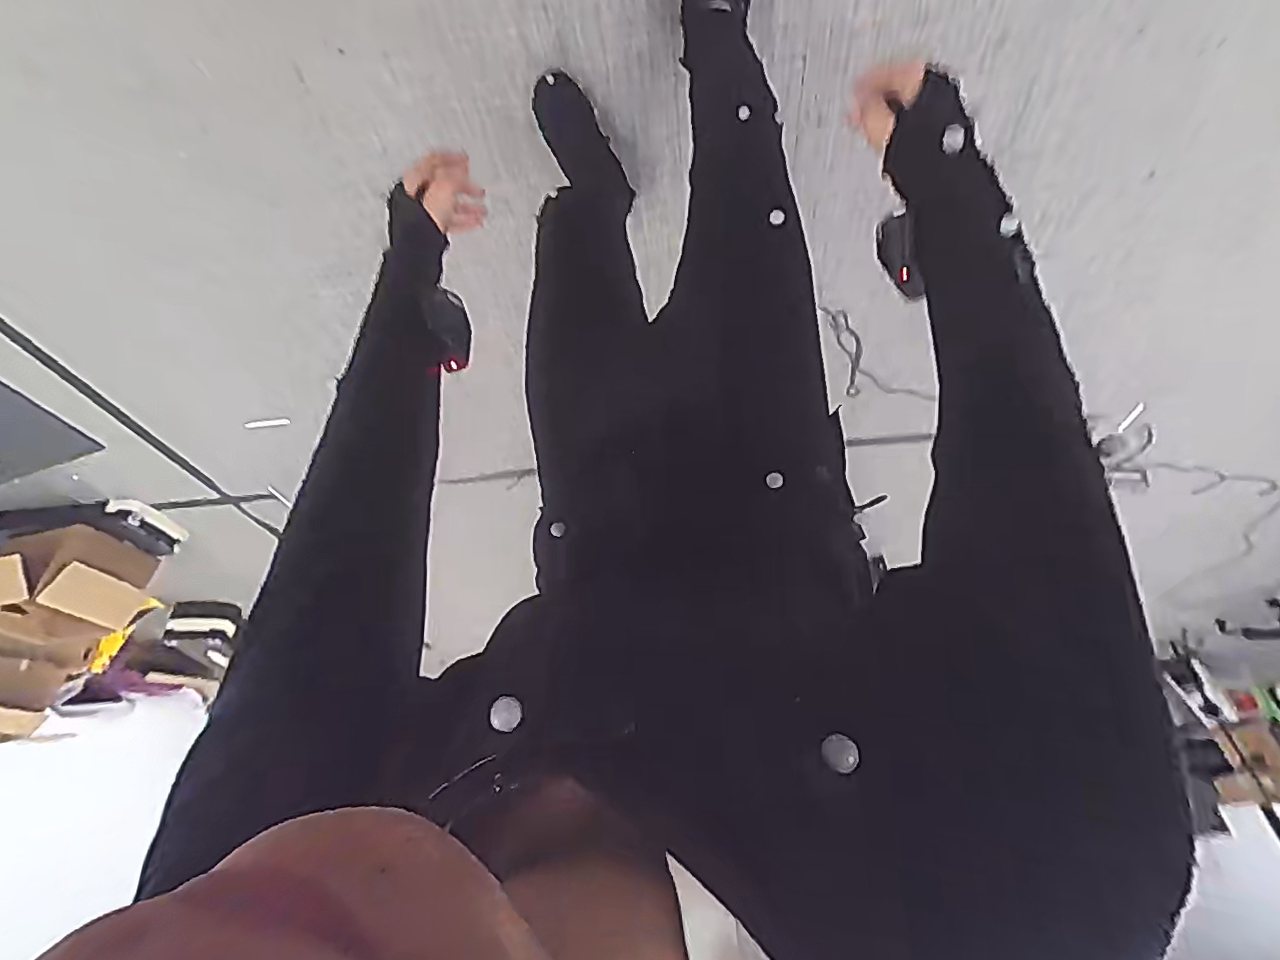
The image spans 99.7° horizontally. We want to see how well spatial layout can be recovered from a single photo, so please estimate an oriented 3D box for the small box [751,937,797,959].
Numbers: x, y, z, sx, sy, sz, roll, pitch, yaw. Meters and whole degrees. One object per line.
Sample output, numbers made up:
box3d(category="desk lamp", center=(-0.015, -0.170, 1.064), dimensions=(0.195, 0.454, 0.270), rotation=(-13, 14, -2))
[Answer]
box3d(category="small box", center=(0.522, 1.877, 2.074), dimensions=(0.168, 0.176, 0.179), rotation=(-6, 144, 5))
